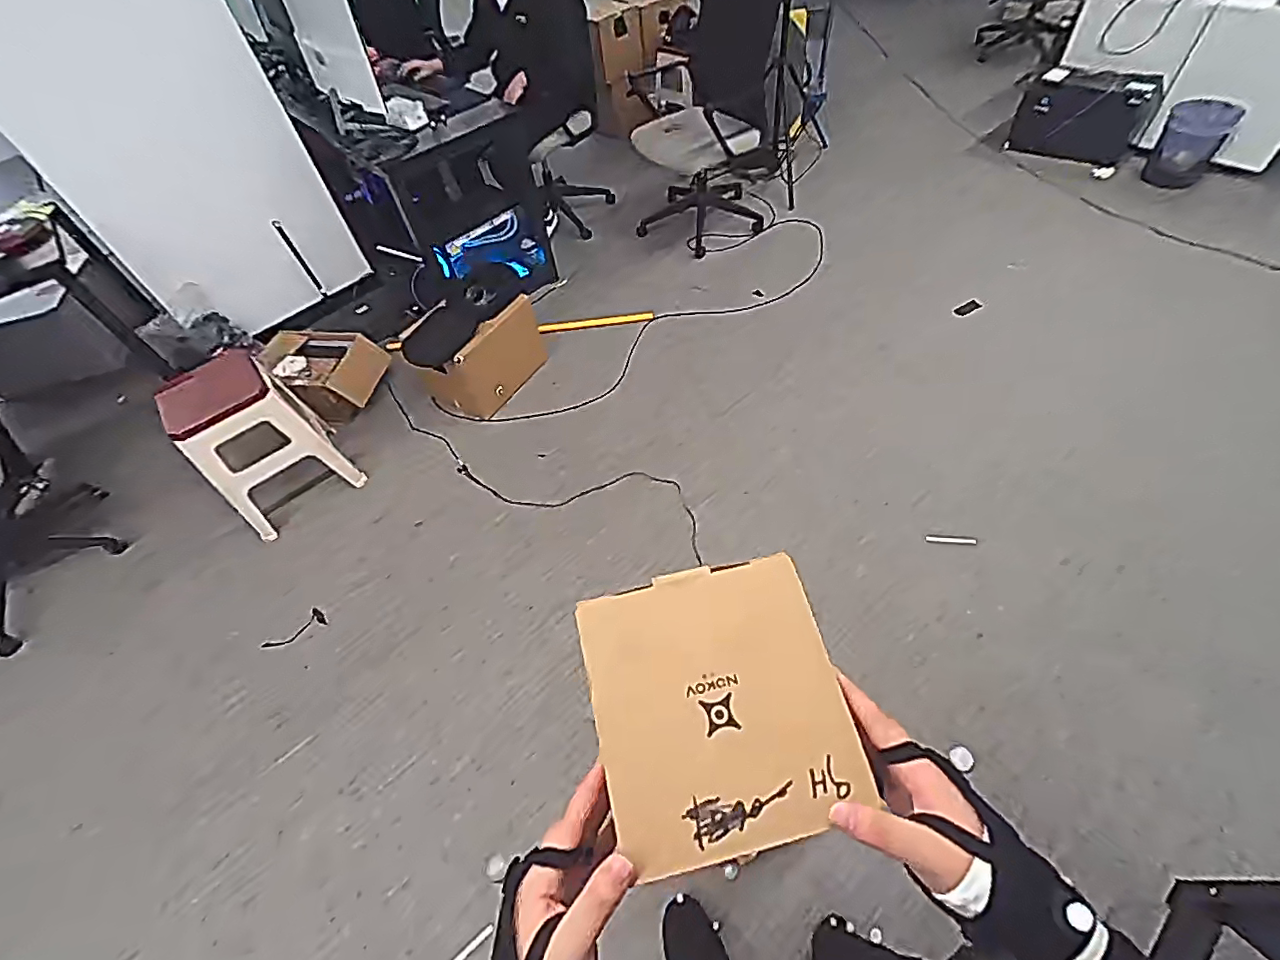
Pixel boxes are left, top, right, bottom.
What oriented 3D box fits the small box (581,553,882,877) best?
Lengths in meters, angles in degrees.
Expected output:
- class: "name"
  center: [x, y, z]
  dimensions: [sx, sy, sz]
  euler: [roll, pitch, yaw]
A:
- class: "small box"
  center: [0.054, 0.182, 0.435]
  dimensions: [0.168, 0.176, 0.179]
  euler: [-13, 64, -4]
